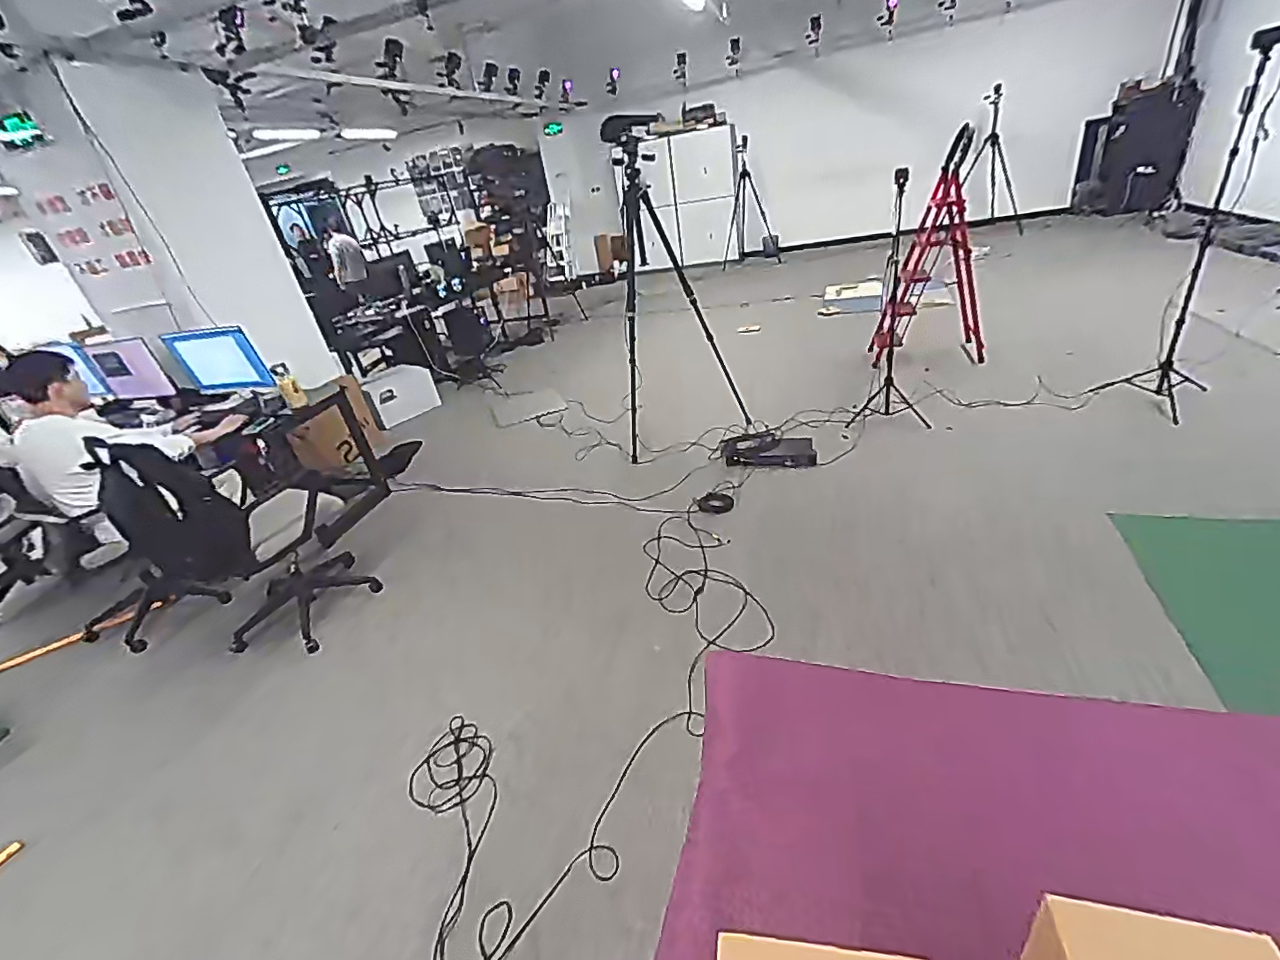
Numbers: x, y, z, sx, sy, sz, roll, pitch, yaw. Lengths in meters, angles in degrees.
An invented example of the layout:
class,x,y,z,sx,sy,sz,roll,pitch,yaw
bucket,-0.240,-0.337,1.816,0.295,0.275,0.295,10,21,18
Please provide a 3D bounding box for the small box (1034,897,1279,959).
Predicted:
class,x,y,z,sx,sy,sz,roll,pitch,yaw
small box,0.452,0.503,0.450,0.168,0.176,0.179,-2,29,18
